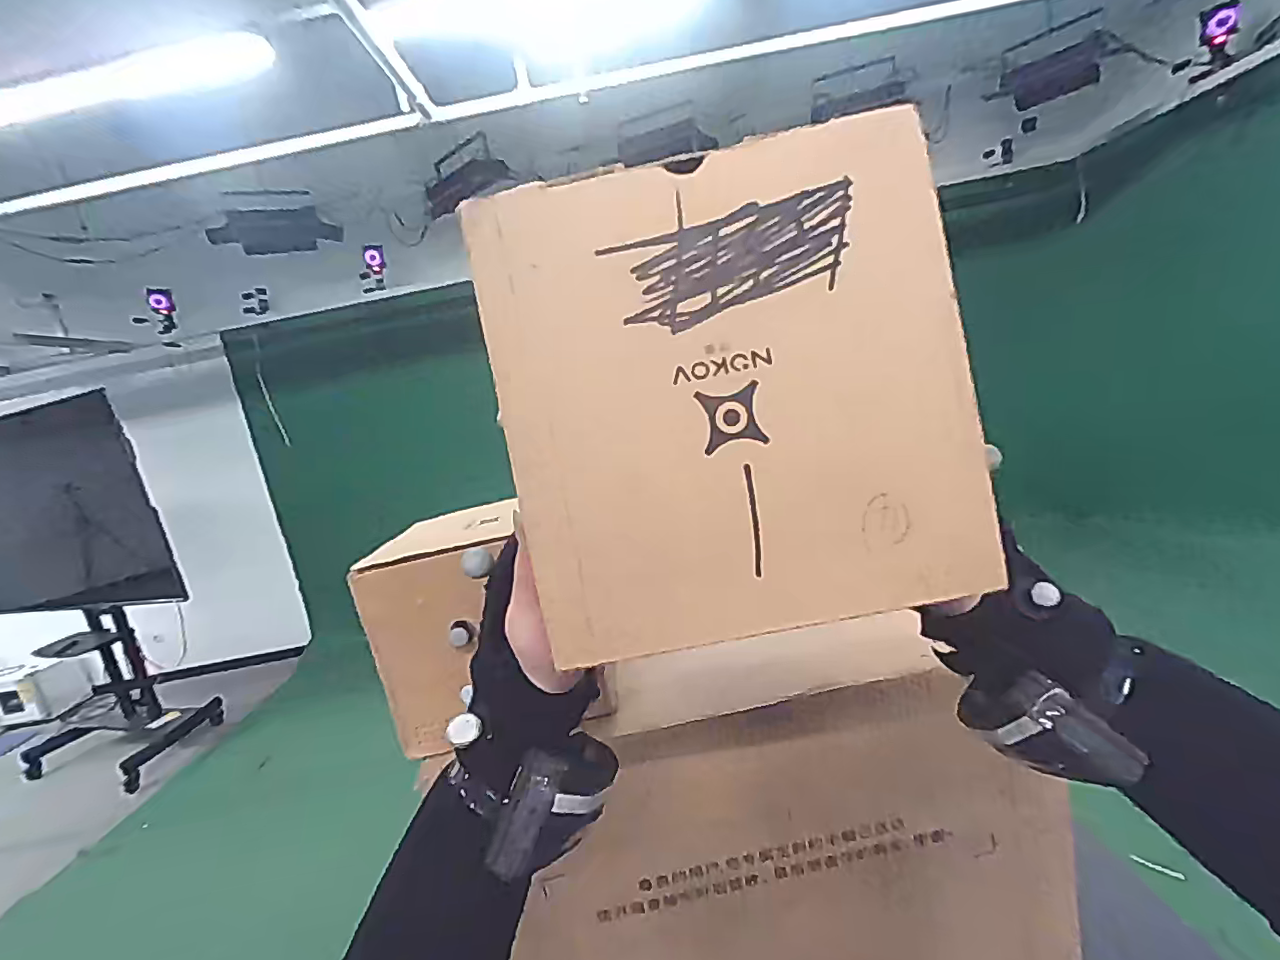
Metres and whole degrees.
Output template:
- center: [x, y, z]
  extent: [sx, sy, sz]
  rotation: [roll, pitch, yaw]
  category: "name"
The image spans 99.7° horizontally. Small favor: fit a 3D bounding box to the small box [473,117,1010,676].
- center: [0.036, -0.029, 0.271]
  extent: [0.168, 0.179, 0.176]
  rotation: [-11, 0, 2]
  category: "small box"
